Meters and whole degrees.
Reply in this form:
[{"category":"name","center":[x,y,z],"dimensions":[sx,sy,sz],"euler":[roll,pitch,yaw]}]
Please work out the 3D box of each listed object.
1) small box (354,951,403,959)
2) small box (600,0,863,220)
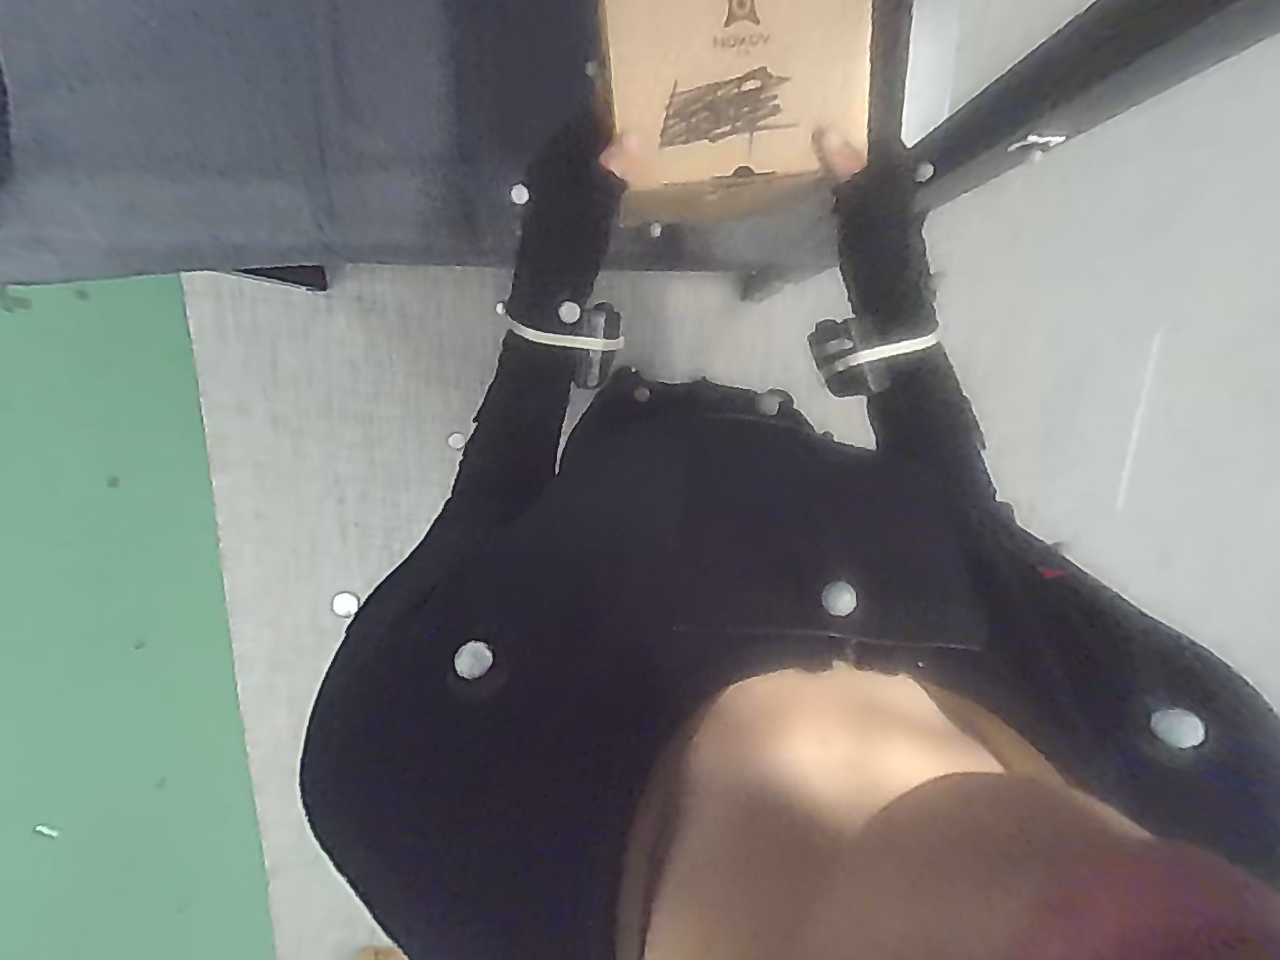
[{"category":"small box","center":[-0.890,1.711,1.779],"dimensions":[0.168,0.176,0.179],"euler":[4,101,0]},{"category":"small box","center":[0.055,-0.308,0.417],"dimensions":[0.168,0.176,0.179],"euler":[-4,106,-2]}]
